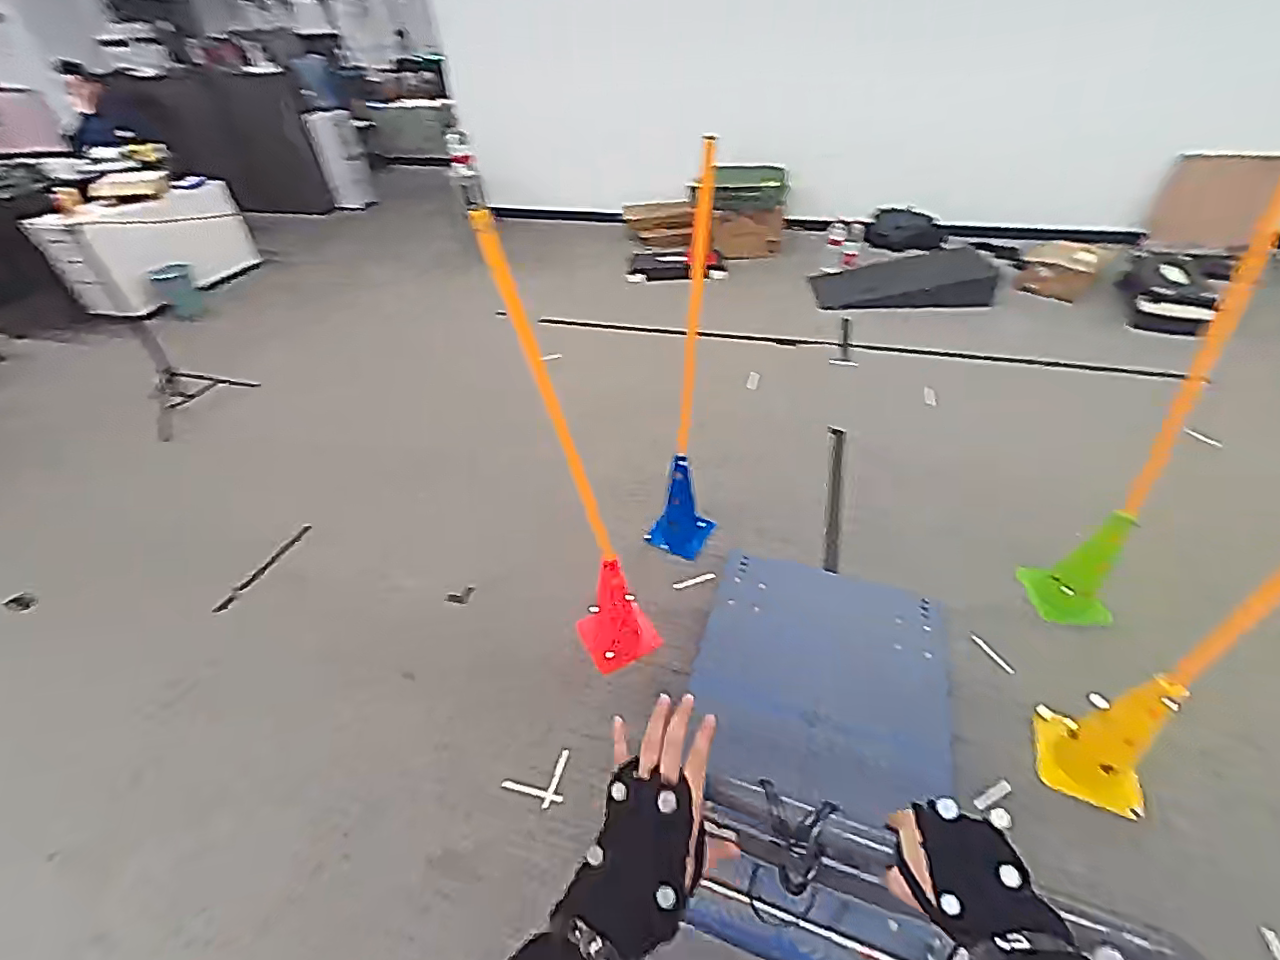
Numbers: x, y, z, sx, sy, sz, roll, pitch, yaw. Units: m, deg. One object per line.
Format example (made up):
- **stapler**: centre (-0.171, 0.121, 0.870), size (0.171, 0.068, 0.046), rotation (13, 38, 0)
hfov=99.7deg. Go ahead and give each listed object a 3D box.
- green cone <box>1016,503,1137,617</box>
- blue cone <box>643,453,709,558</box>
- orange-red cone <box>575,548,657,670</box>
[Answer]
- **green cone**: centre (1.266, 0.201, 1.519), size (0.200, 0.368, 0.202), rotation (0, 43, 4)
- **blue cone**: centre (0.122, 0.060, 1.779), size (0.193, 0.380, 0.192), rotation (20, 47, 24)
- **orange-red cone**: centre (-0.077, 0.316, 1.476), size (0.199, 0.360, 0.198), rotation (-20, 45, -20)
